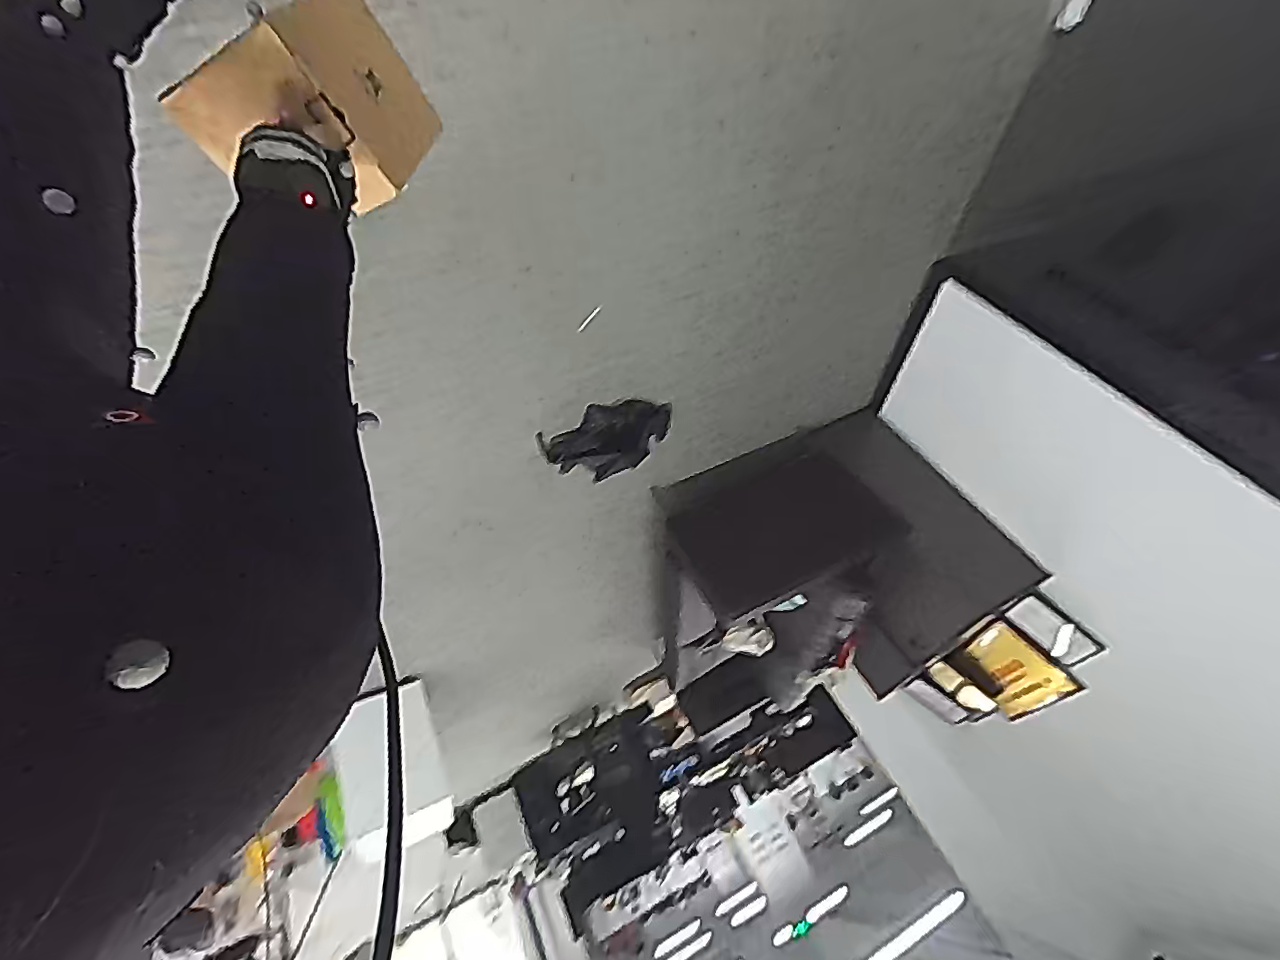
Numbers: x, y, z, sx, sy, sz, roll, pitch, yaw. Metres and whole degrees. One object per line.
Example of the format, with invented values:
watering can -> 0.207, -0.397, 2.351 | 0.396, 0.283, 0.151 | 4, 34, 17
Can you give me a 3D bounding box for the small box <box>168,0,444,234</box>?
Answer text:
small box -> -0.359, -0.411, 0.602 | 0.176, 0.179, 0.168 | -10, 140, 22
